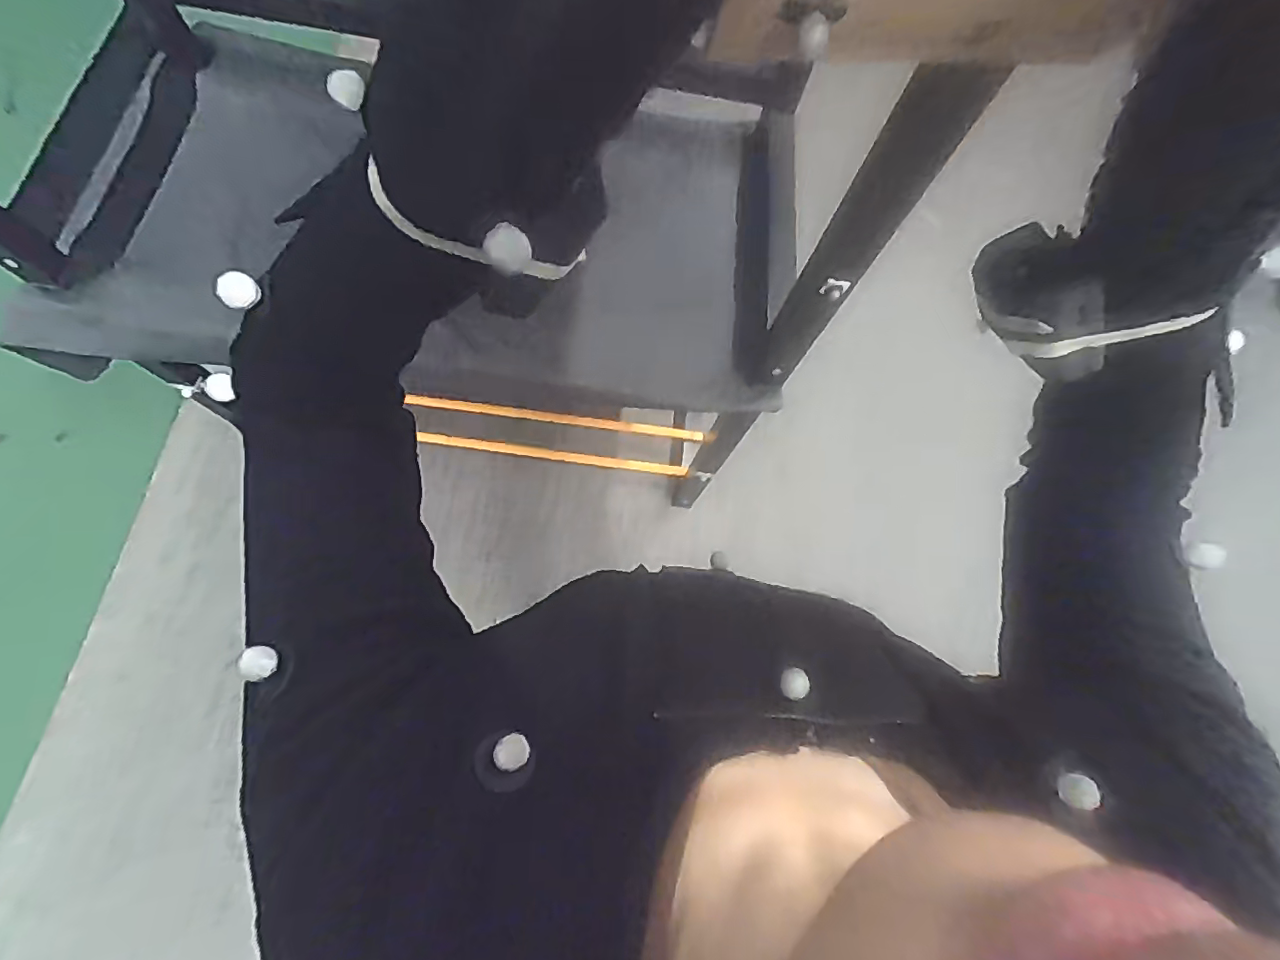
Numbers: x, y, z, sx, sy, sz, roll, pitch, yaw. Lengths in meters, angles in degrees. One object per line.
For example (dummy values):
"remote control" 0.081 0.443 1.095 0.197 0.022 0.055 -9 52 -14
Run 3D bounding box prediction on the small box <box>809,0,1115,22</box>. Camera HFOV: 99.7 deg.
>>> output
"small box" 0.108 -0.249 0.119 0.168 0.176 0.179 -2 98 -4
